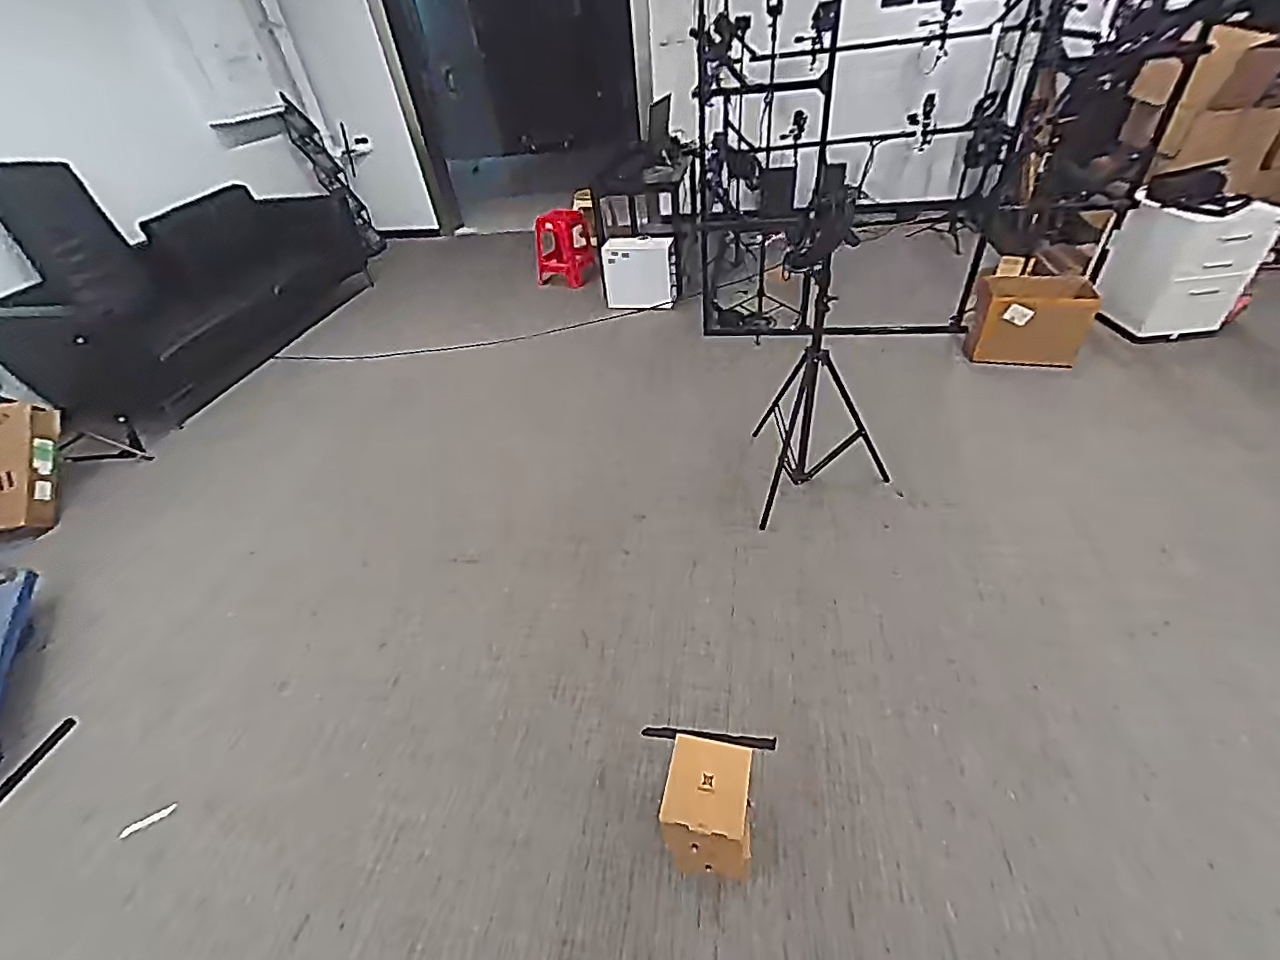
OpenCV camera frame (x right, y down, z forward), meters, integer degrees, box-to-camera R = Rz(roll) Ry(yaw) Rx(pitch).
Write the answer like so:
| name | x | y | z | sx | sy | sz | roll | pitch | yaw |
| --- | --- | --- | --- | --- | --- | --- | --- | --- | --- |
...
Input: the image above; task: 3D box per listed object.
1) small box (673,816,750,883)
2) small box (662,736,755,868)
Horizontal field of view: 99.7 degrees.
| name | x | y | z | sx | sy | sz | roll | pitch | yaw |
| --- | --- | --- | --- | --- | --- | --- | --- | --- | --- |
| small box | 0.170 | 0.800 | 1.248 | 0.168 | 0.176 | 0.179 | 1 | 40 | 9 |
| small box | 0.147 | 0.678 | 1.142 | 0.168 | 0.176 | 0.179 | 5 | 42 | 15 |
